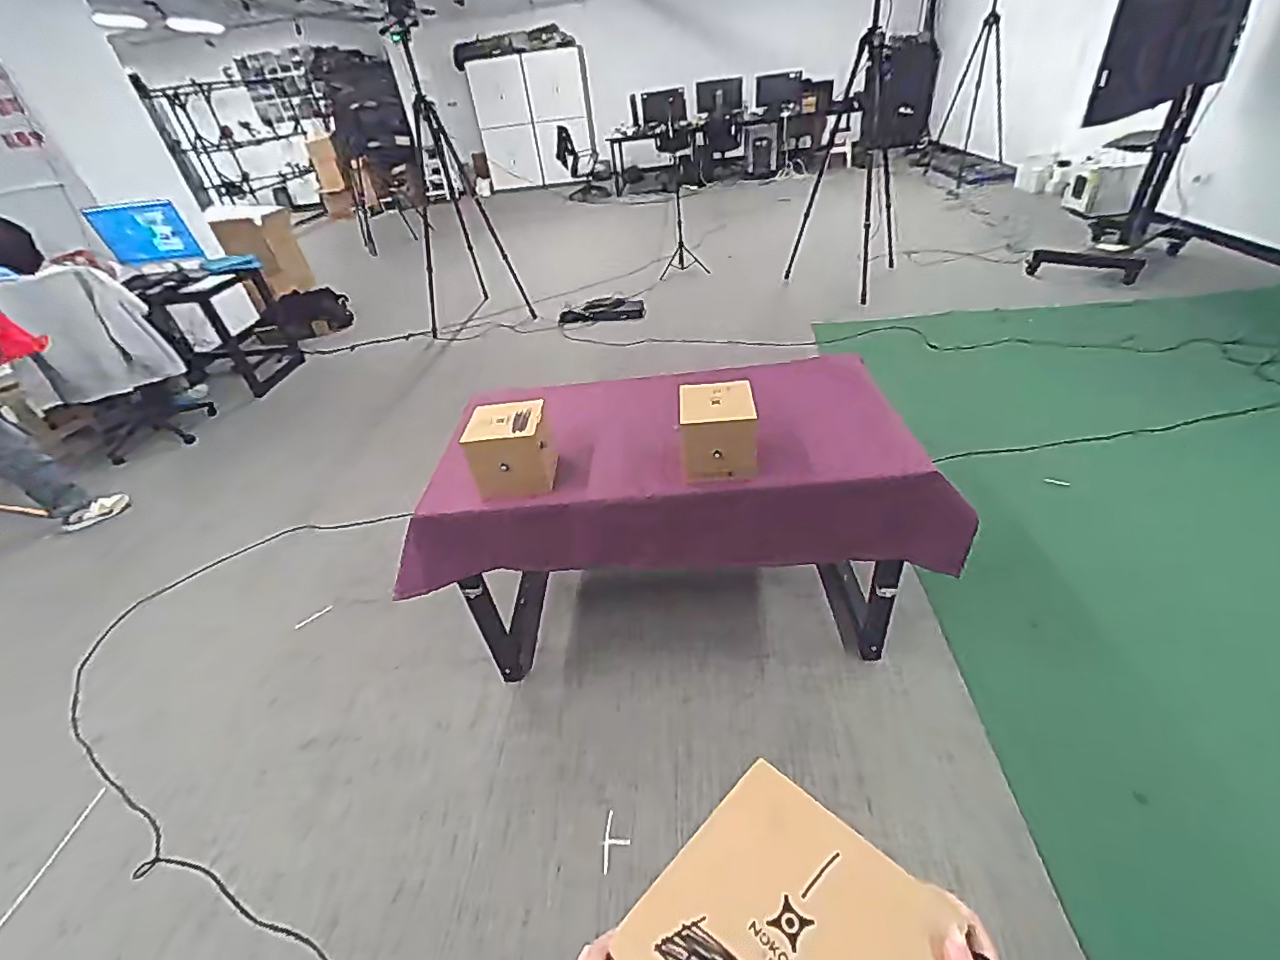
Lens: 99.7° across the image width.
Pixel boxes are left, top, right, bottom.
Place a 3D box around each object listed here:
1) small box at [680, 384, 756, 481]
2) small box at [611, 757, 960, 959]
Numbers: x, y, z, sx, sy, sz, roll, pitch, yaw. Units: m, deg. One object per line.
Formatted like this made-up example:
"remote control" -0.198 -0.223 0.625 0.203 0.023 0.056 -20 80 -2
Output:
"small box" 0.183 -0.107 1.271 0.168 0.176 0.179 -3 37 7
"small box" 0.108 0.364 0.402 0.179 0.176 0.168 -33 38 -30
